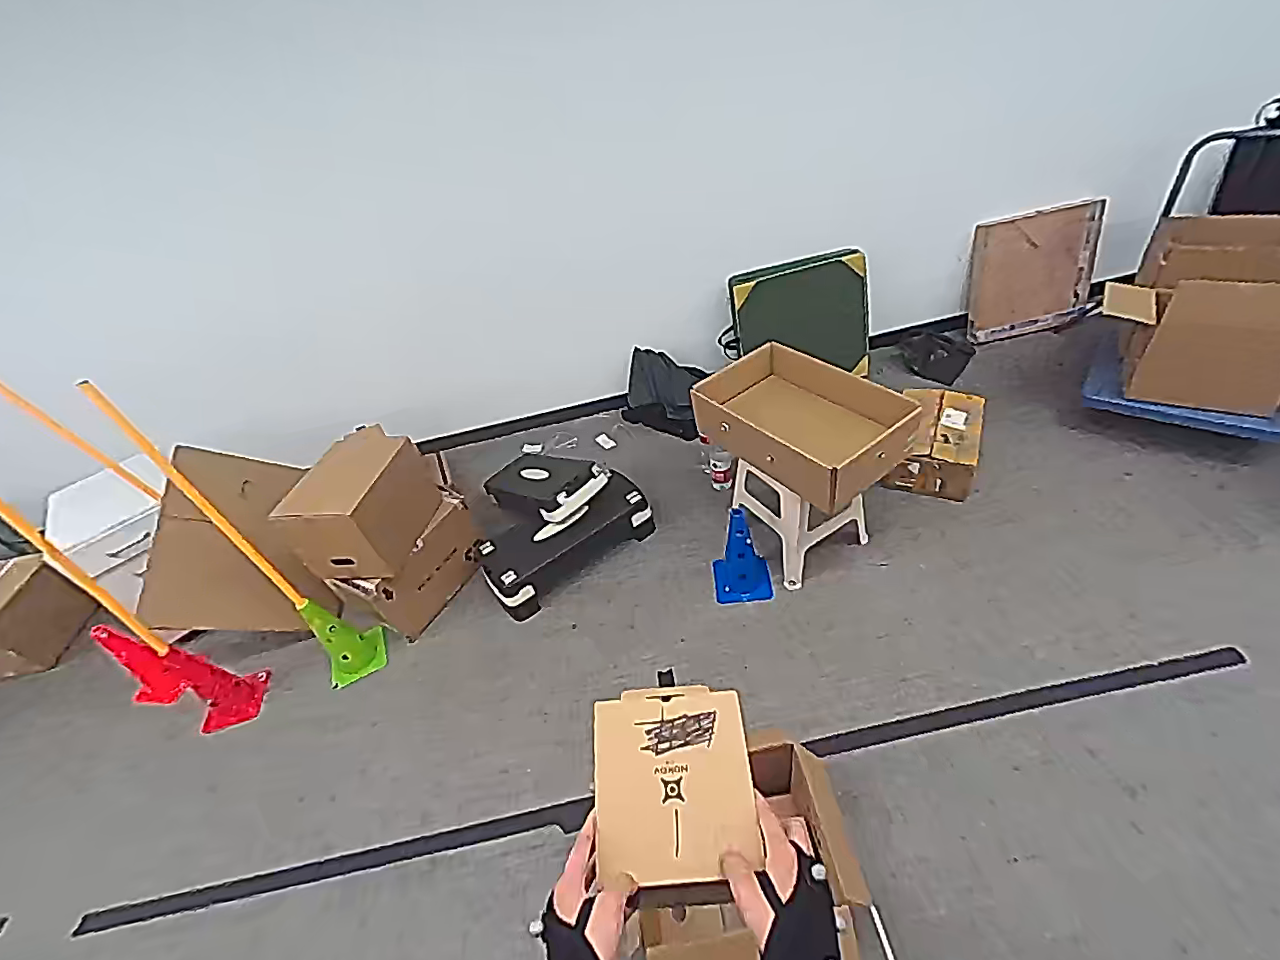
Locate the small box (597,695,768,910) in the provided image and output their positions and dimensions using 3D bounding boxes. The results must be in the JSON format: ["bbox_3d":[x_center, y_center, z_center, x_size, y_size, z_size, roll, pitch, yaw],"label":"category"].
[{"bbox_3d":[0.042,0.372,0.624,0.168,0.176,0.179,-5,46,1],"label":"small box"}]
